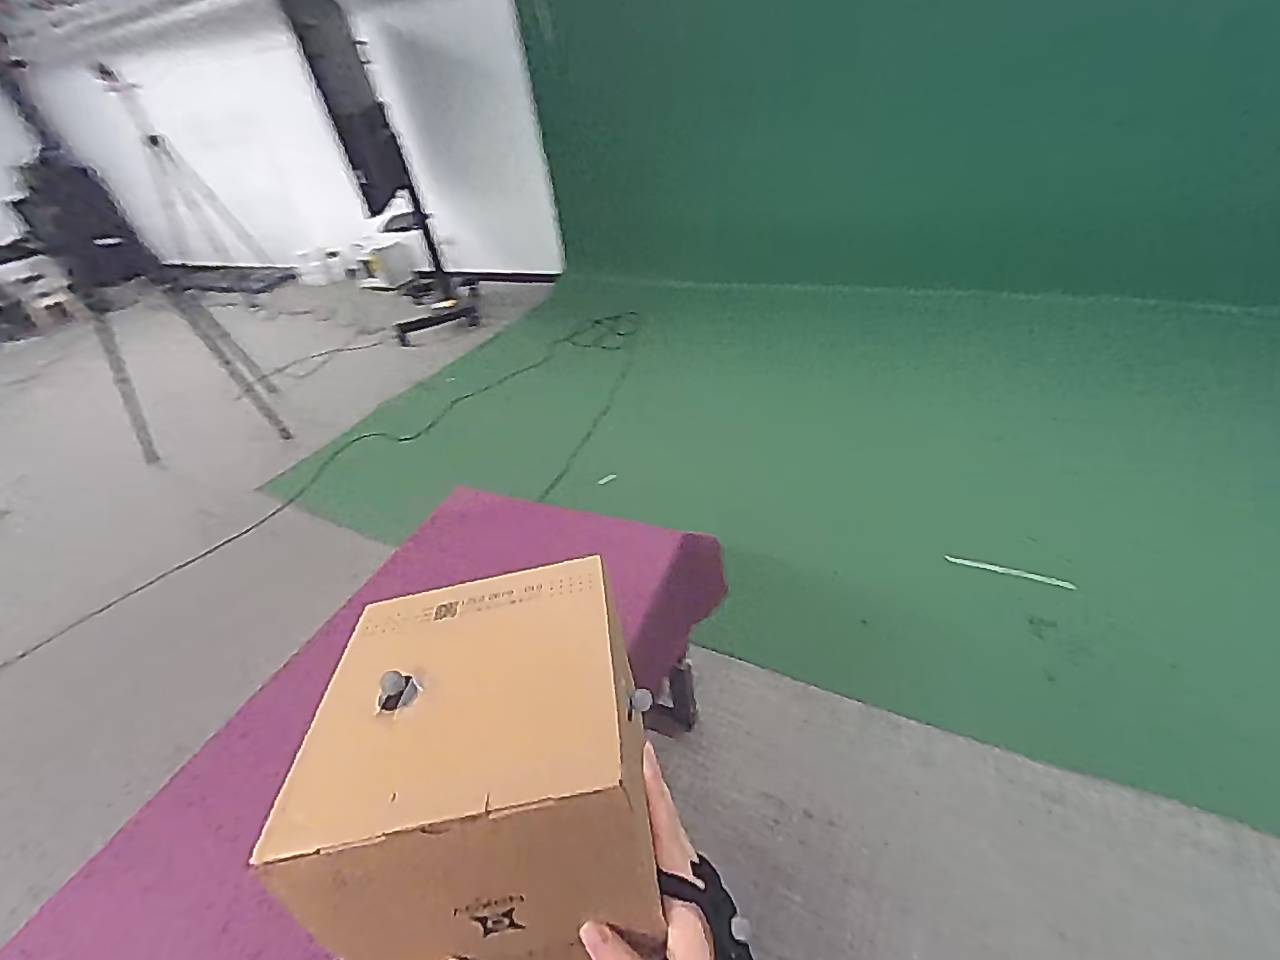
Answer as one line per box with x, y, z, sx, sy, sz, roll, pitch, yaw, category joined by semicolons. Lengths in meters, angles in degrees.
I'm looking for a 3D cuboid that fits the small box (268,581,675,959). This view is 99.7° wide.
-0.079;0.182;0.345;0.168;0.179;0.176;-10;30;-1;small box
